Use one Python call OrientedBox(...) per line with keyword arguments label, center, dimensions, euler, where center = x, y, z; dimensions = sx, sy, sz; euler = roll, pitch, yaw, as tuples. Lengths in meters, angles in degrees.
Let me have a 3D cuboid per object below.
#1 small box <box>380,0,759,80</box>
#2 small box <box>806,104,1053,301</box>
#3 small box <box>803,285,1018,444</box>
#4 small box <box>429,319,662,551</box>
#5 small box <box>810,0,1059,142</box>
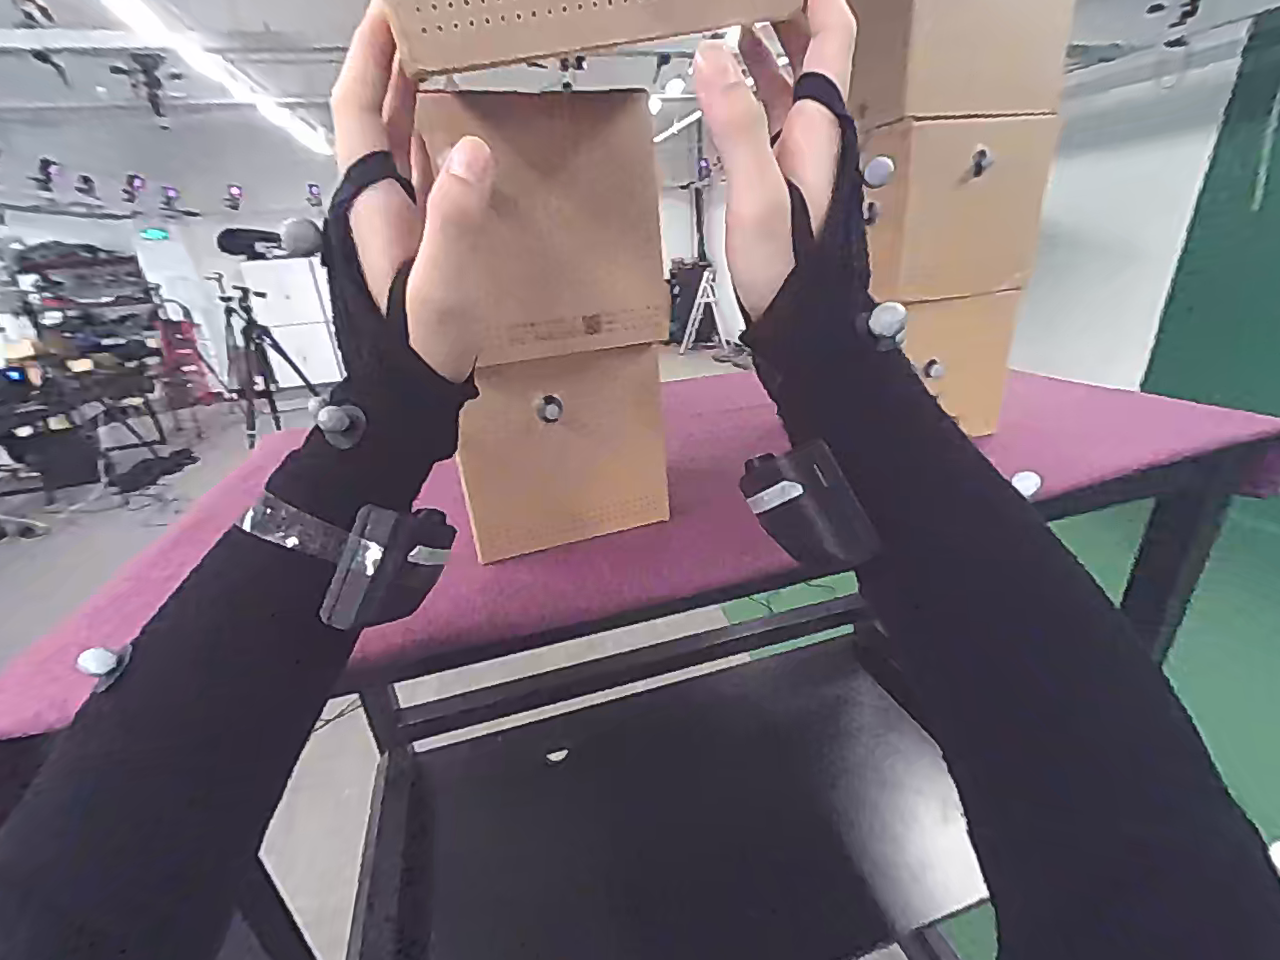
OrientedBox(label="small box", center=(-0.038, -0.295, 0.237), dimensions=(0.179, 0.176, 0.168), euler=(-12, 39, -5))
OrientedBox(label="small box", center=(0.304, -0.295, 0.602), dimensions=(0.179, 0.176, 0.168), euler=(-10, 24, -13))
OrientedBox(label="small box", center=(0.318, -0.148, 0.673), dimensions=(0.168, 0.176, 0.179), euler=(-9, 22, -10))
OrientedBox(label="small box", center=(-0.090, -0.051, 0.514), dimensions=(0.179, 0.176, 0.168), euler=(-12, 25, -17))
OrientedBox(label="small box", center=(0.291, -0.450, 0.550), dimensions=(0.179, 0.176, 0.168), euler=(-9, 23, -12))
